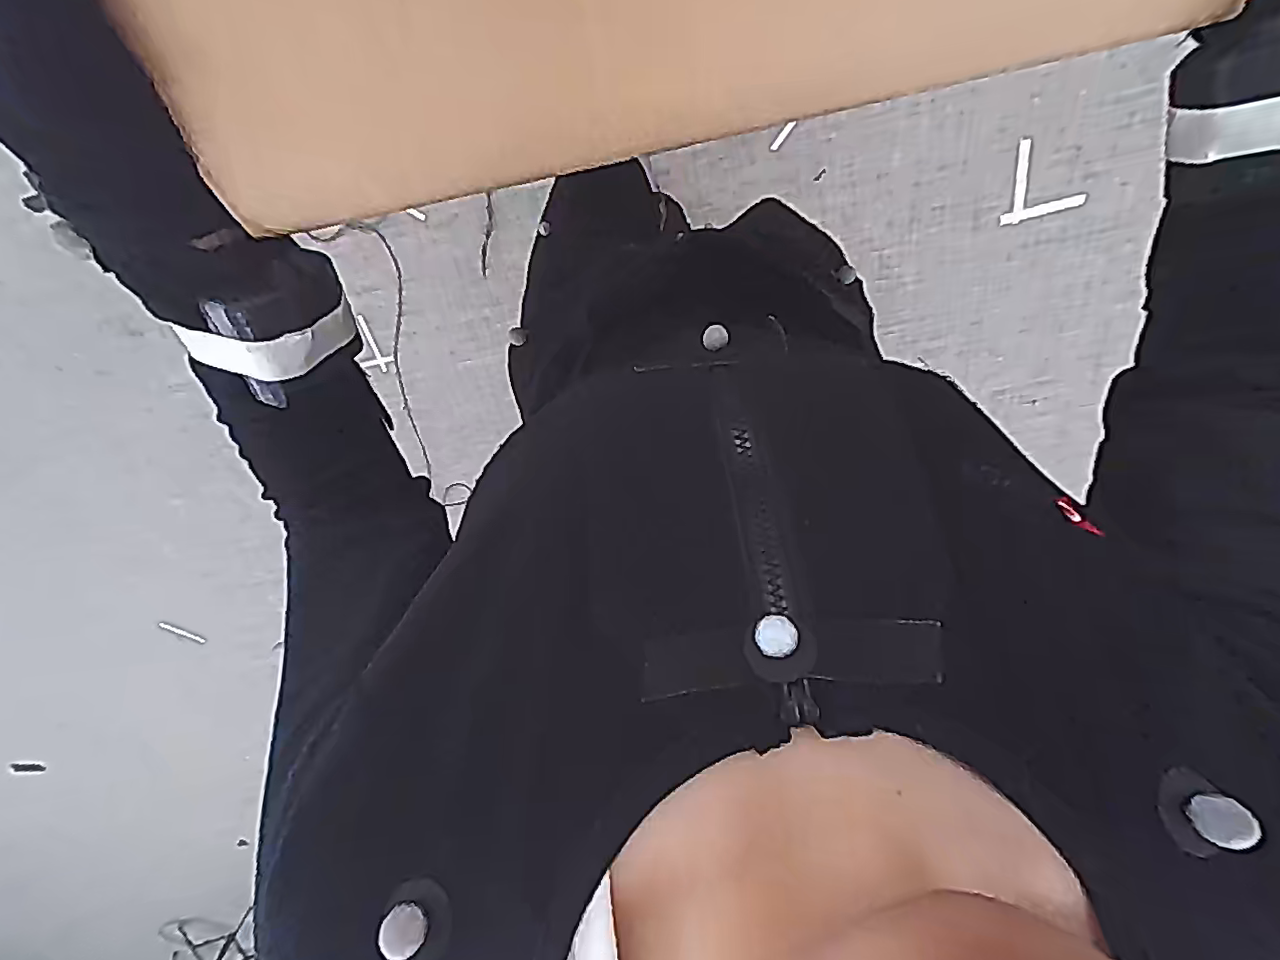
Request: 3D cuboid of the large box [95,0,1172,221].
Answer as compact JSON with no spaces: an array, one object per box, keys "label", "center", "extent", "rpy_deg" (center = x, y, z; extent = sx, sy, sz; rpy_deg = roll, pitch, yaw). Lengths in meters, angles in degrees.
[{"label":"large box","center":[-0.016,-0.361,0.206],"extent":[0.408,0.320,0.320],"rpy_deg":[-10,140,5]}]
